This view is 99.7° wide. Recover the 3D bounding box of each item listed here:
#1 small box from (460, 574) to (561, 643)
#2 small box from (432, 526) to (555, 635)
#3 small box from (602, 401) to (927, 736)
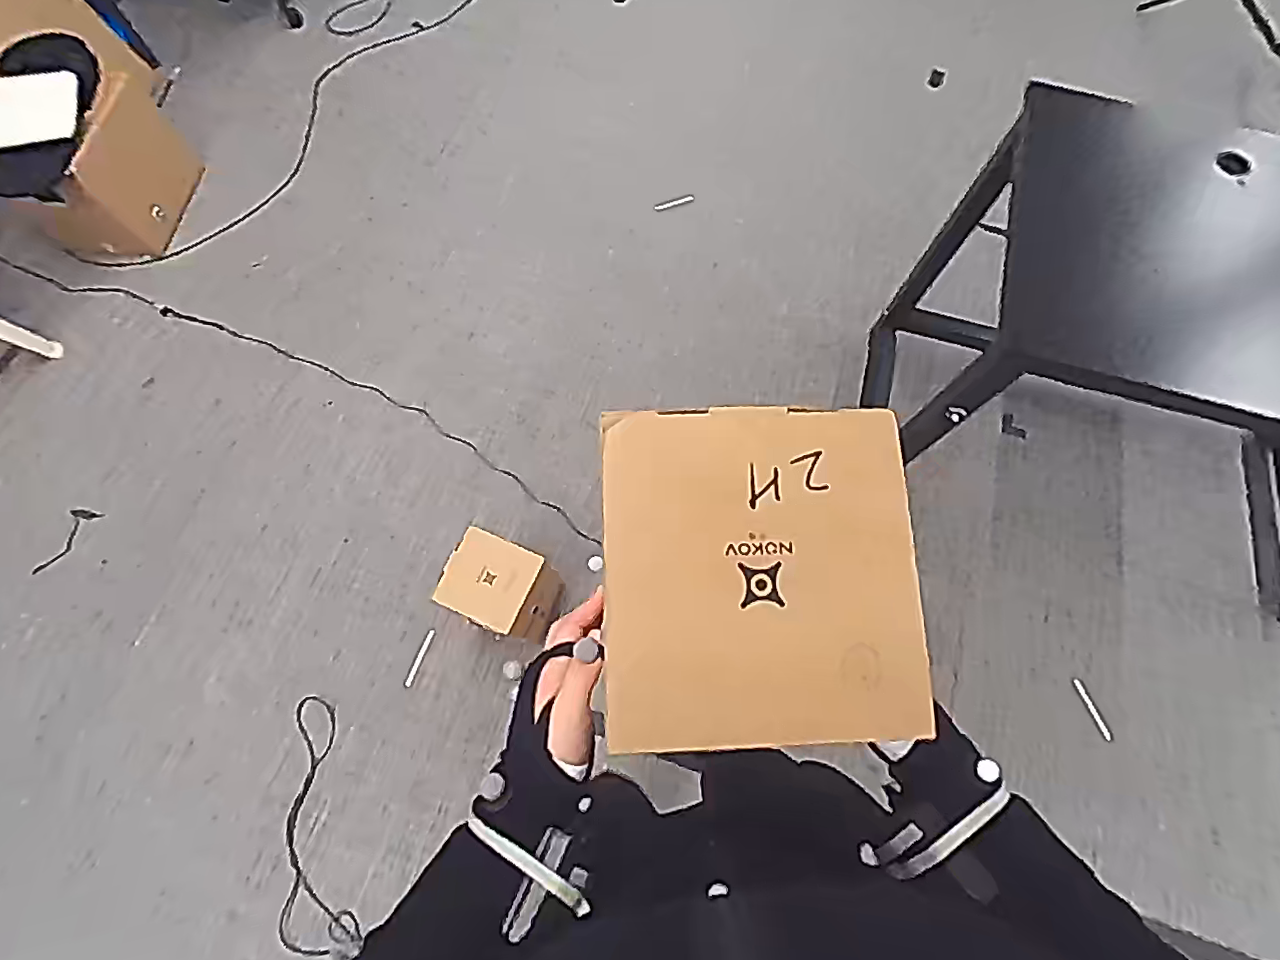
[{"bbox_3d":[-0.301,0.283,1.301,0.168,0.176,0.179,18,71,6],"label":"small box"},{"bbox_3d":[-0.300,0.222,1.149,0.179,0.176,0.168,22,72,6],"label":"small box"},{"bbox_3d":[0.060,0.057,0.367,0.168,0.176,0.179,-2,78,-4],"label":"small box"}]
